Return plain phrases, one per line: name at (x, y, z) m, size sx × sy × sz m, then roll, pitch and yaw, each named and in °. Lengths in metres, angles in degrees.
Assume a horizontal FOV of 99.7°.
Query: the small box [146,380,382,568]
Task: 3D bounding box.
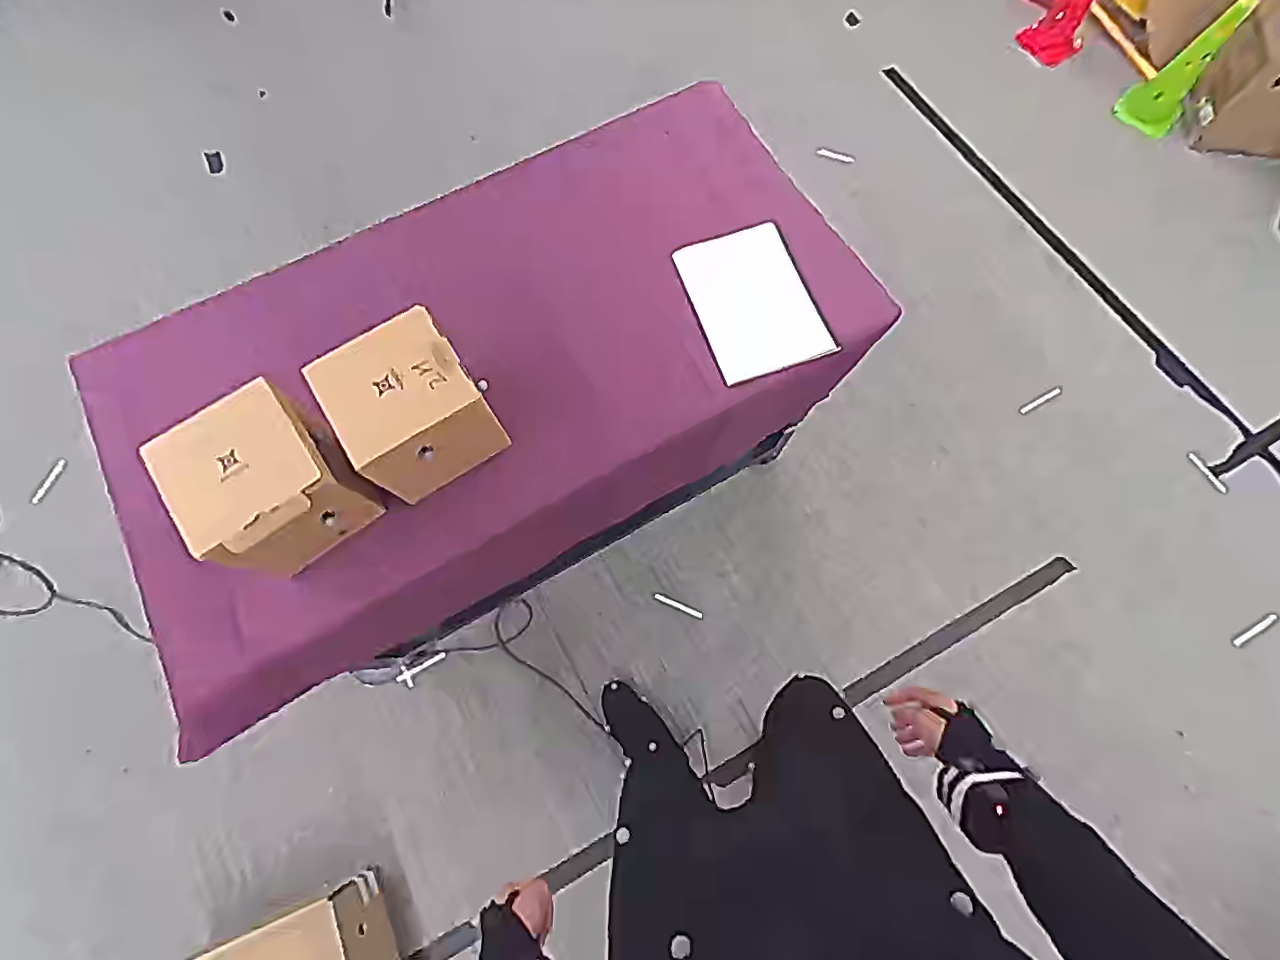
small box at (-0.489, 0.005, 0.731) m, size 0.168 × 0.176 × 0.179 m, roll -36°, pitch 76°, yaw -10°
